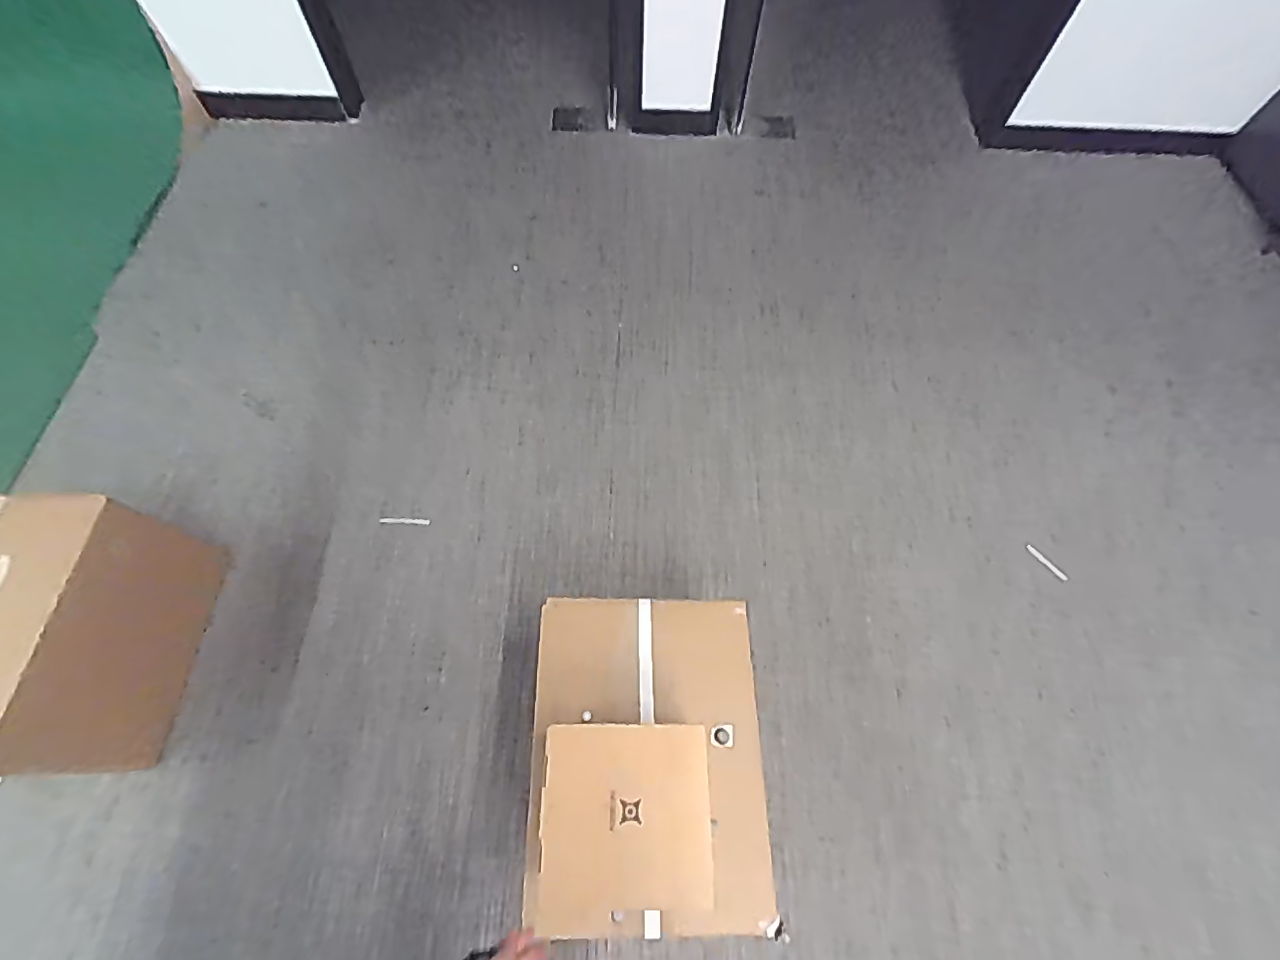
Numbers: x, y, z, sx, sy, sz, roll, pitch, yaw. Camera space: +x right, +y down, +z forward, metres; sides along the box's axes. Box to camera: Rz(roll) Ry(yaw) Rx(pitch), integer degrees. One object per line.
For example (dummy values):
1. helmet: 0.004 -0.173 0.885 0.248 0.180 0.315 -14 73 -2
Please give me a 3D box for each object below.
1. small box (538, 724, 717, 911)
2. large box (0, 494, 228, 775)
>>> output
1. small box: -0.012 0.375 0.627 0.179 0.176 0.168 -1 64 1
2. large box: -1.007 0.269 0.915 0.320 0.320 0.408 1 63 -1
